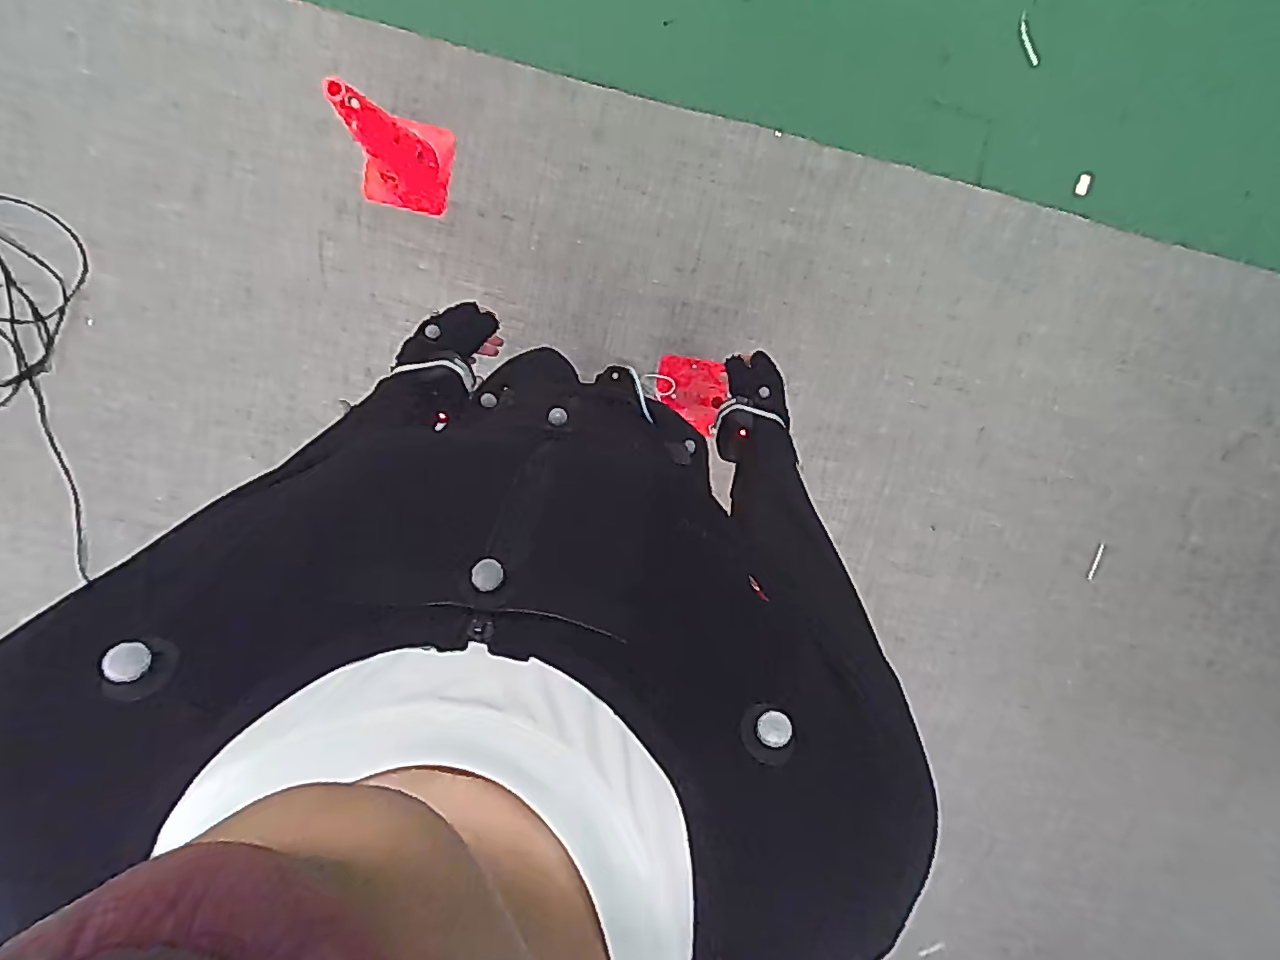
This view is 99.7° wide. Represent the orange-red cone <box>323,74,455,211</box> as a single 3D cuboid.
[{"bbox_3d":[-0.551,-0.739,1.140,0.198,0.360,0.199,13,101,-4],"label":"orange-red cone"}]

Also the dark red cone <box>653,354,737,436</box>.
[{"bbox_3d":[0.147,-0.193,1.250,0.202,0.394,0.201,7,99,-4],"label":"dark red cone"}]
